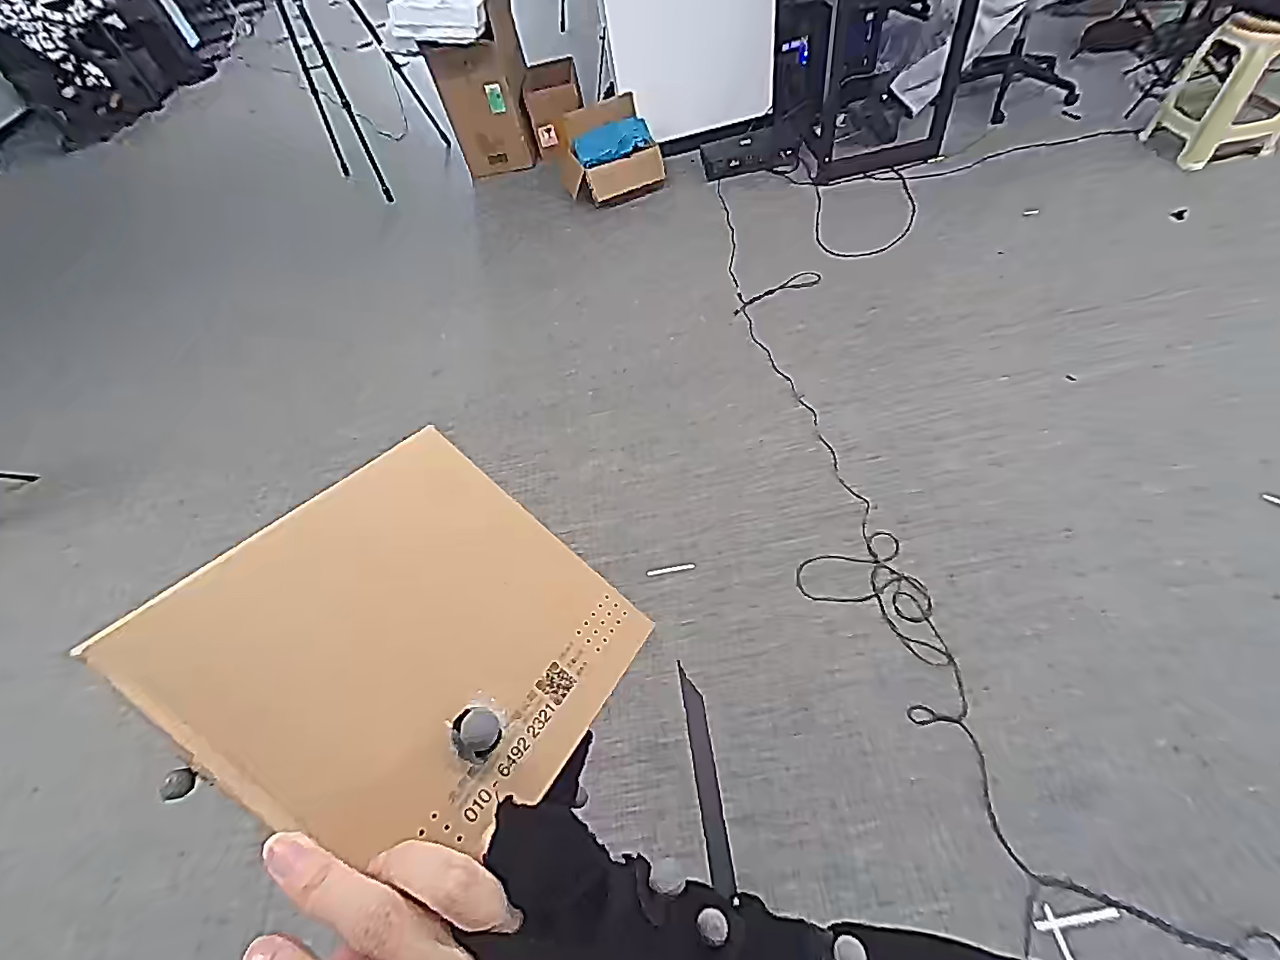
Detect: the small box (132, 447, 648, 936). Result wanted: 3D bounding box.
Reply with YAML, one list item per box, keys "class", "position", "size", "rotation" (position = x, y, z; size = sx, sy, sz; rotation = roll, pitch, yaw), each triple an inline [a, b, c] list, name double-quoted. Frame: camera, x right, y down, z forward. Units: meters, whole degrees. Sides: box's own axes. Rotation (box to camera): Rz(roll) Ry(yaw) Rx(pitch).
- class: "small box"
  position: [-0.127, 0.122, 0.319]
  size: [0.176, 0.179, 0.168]
  rotation: [41, 48, 1]
